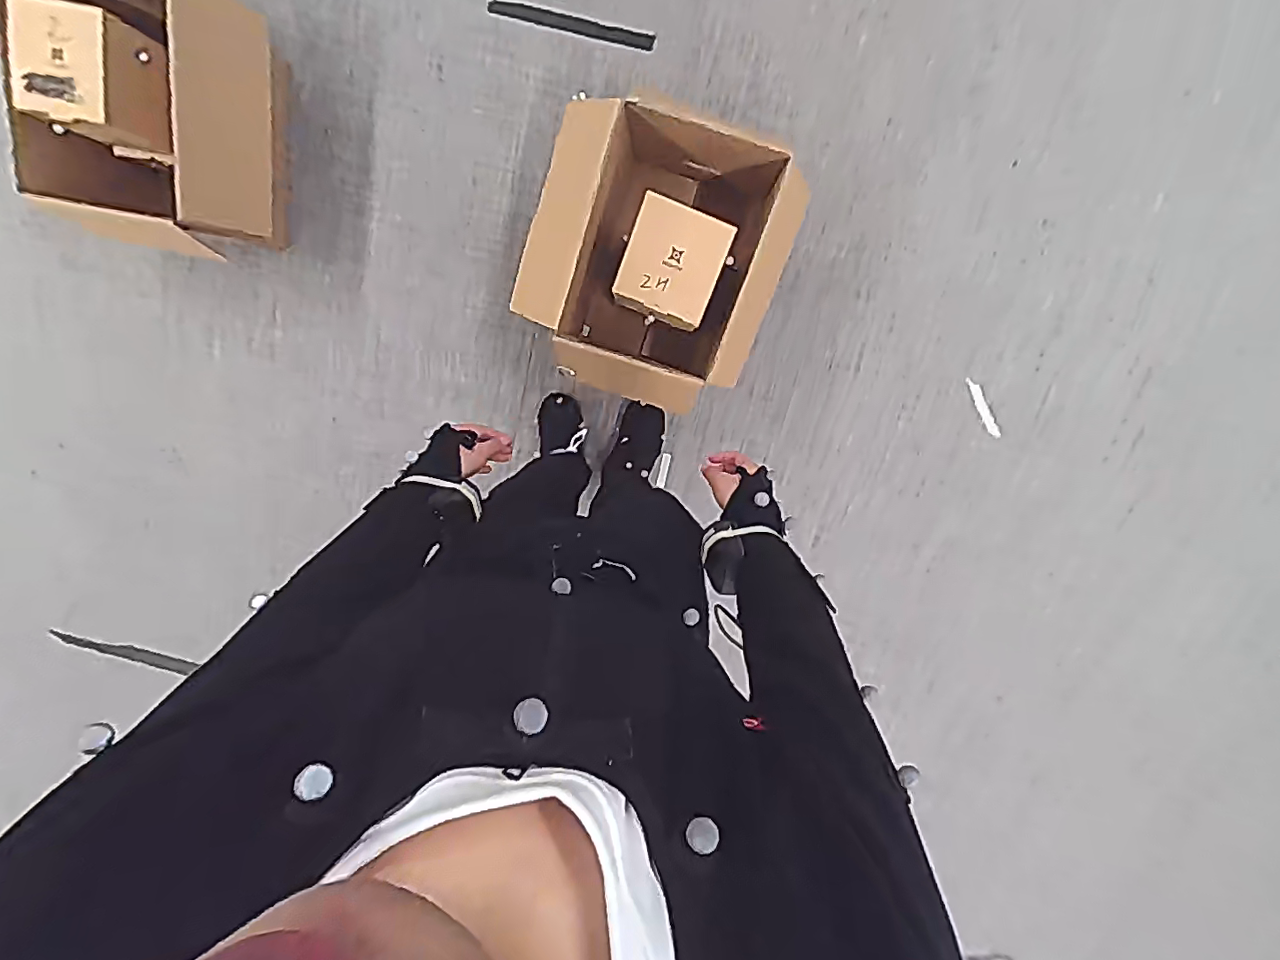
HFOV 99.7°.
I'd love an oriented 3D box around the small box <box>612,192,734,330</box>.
[{"bbox_3d":[0.054,-0.394,1.007,0.168,0.176,0.179,21,102,-5],"label":"small box"}]
